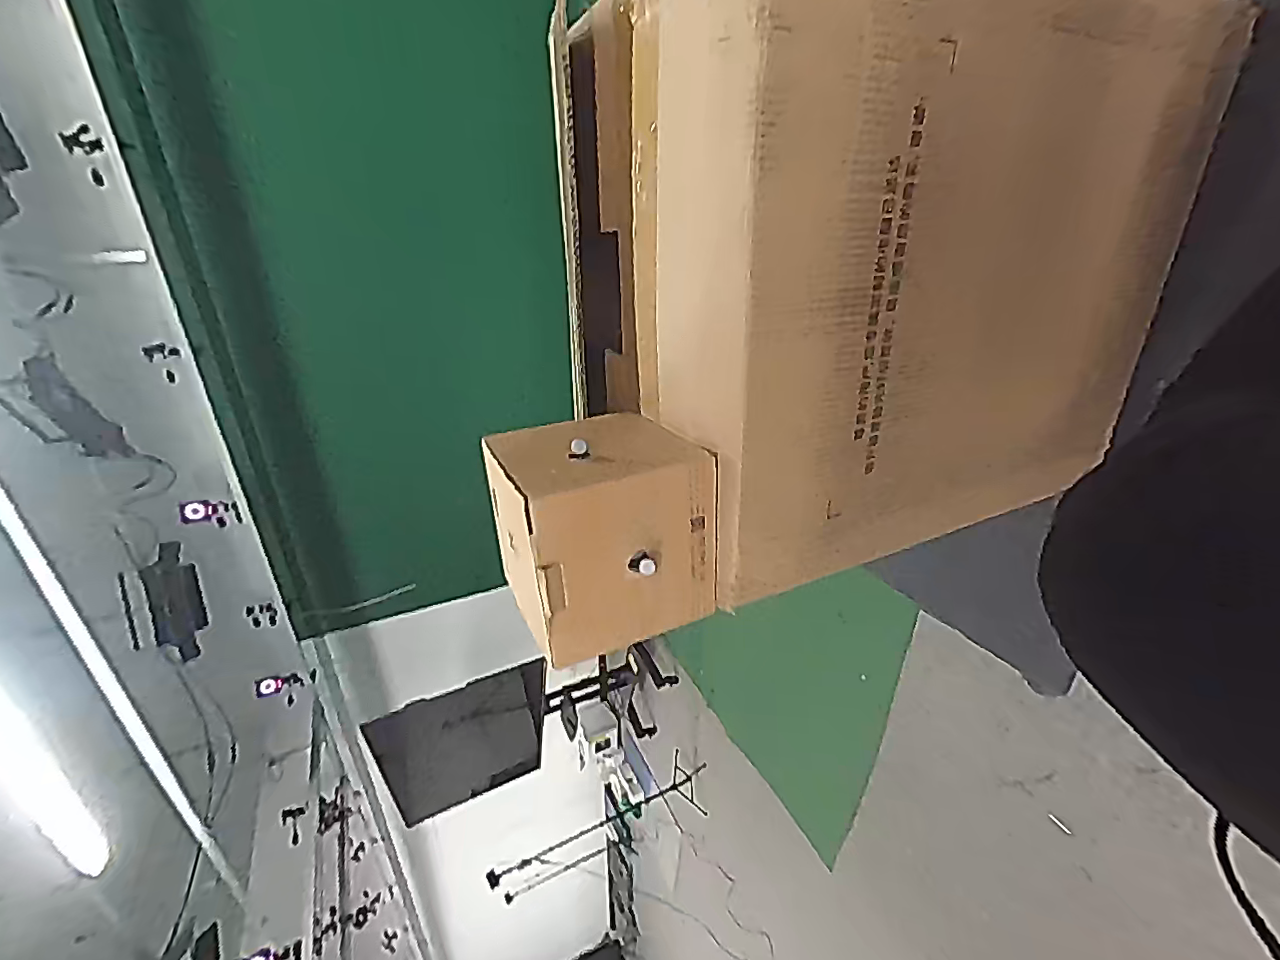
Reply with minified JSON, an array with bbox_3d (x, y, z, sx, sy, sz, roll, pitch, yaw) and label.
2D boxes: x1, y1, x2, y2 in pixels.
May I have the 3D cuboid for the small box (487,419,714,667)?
[{"bbox_3d":[-0.038,0.045,0.539,0.179,0.176,0.168,36,134,57],"label":"small box"}]
